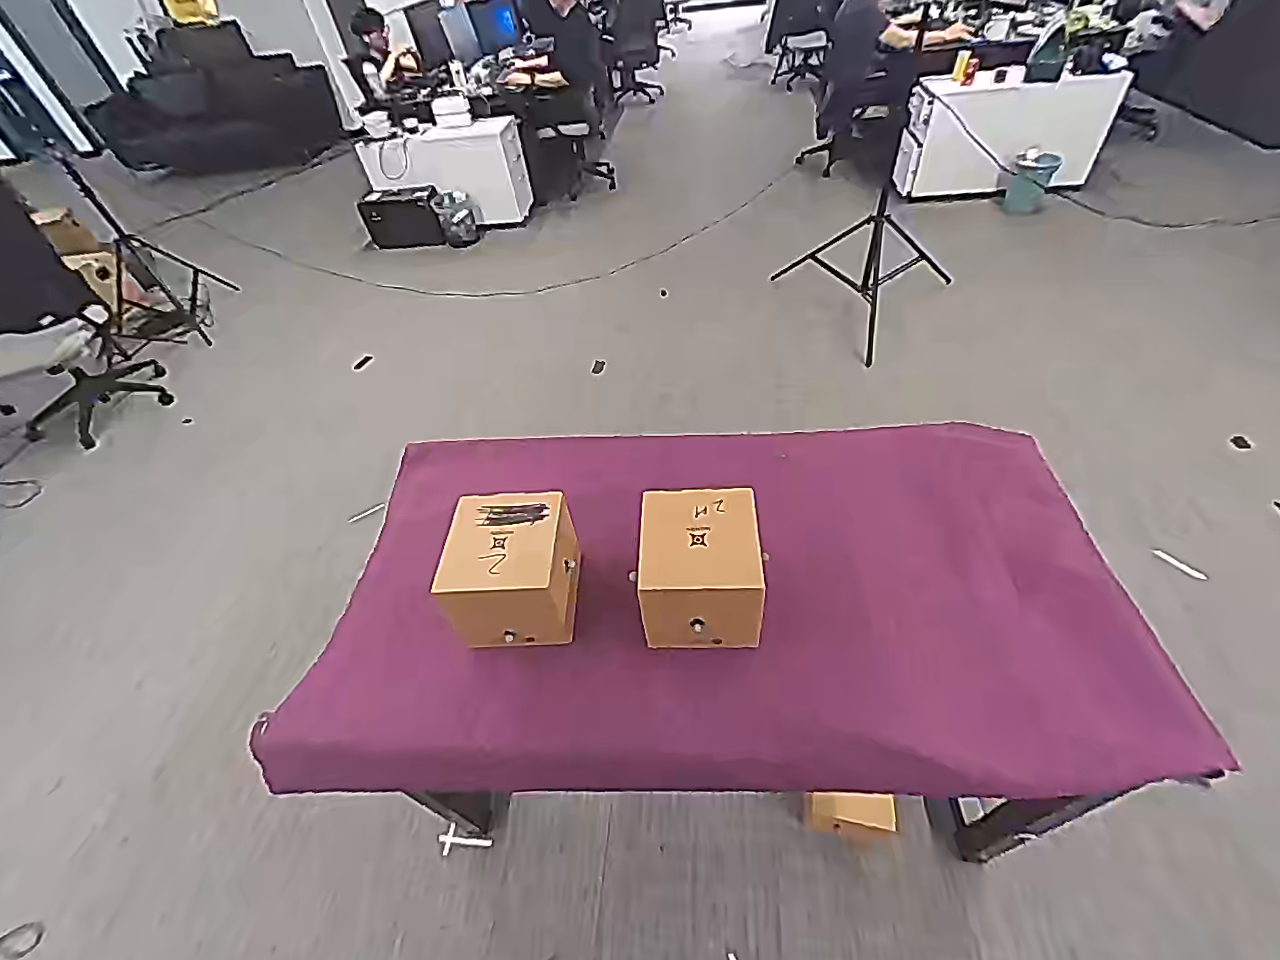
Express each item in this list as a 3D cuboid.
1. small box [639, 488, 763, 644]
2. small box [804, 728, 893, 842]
[{"bbox_3d":[0.092,0.133,0.815,0.168,0.176,0.179,-1,46,6],"label":"small box"},{"bbox_3d":[0.471,0.699,1.237,0.168,0.176,0.179,6,47,14],"label":"small box"}]
